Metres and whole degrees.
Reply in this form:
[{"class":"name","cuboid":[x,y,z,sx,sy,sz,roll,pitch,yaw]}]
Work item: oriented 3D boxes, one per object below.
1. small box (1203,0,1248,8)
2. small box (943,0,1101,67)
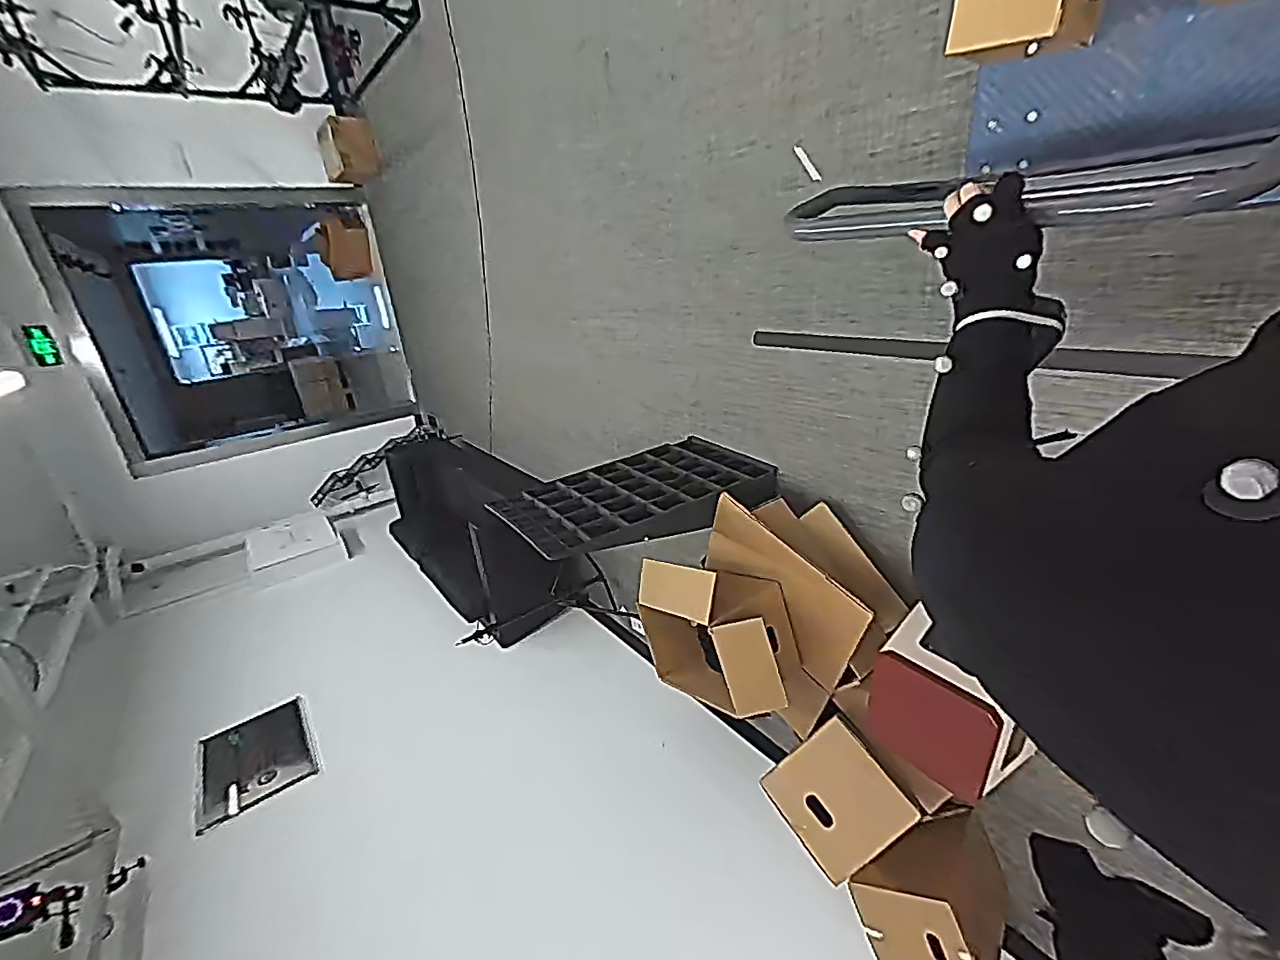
[{"class":"small box","cuboid":[0.846,-0.746,0.689,0.179,0.176,0.168,20,123,51]},{"class":"small box","cuboid":[0.661,-0.828,0.922,0.179,0.176,0.168,29,129,43]}]
